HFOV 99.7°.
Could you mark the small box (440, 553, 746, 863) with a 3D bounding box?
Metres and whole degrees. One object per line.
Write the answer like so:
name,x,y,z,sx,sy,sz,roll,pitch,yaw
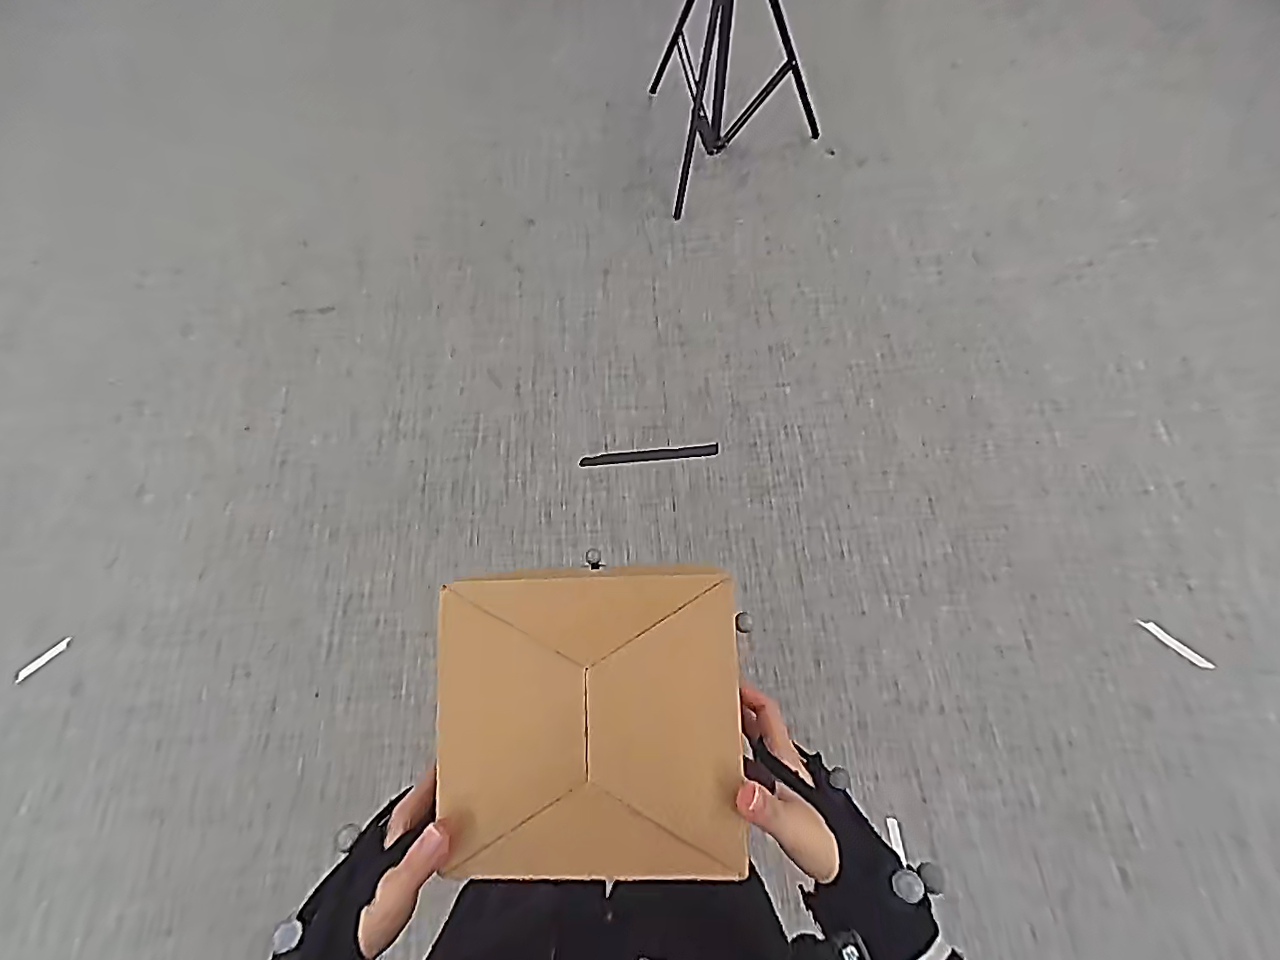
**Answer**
small box,-0.023,0.141,0.388,0.179,0.176,0.168,-2,83,3
